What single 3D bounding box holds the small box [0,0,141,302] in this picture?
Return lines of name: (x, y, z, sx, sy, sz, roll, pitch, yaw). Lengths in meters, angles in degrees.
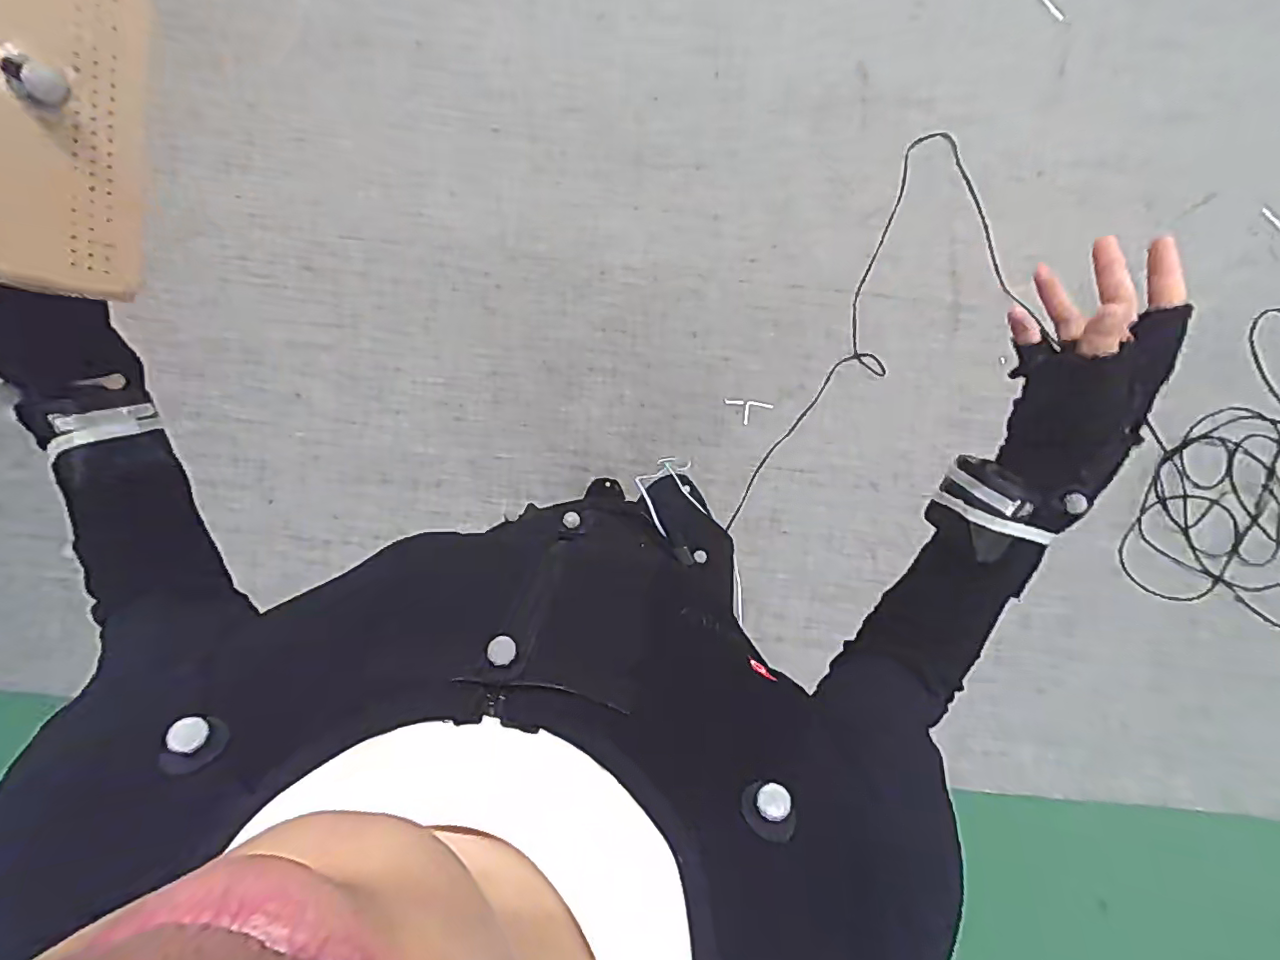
small box: (-0.358, -0.190, 0.230, 0.168, 0.176, 0.179, 13, 98, 22)
